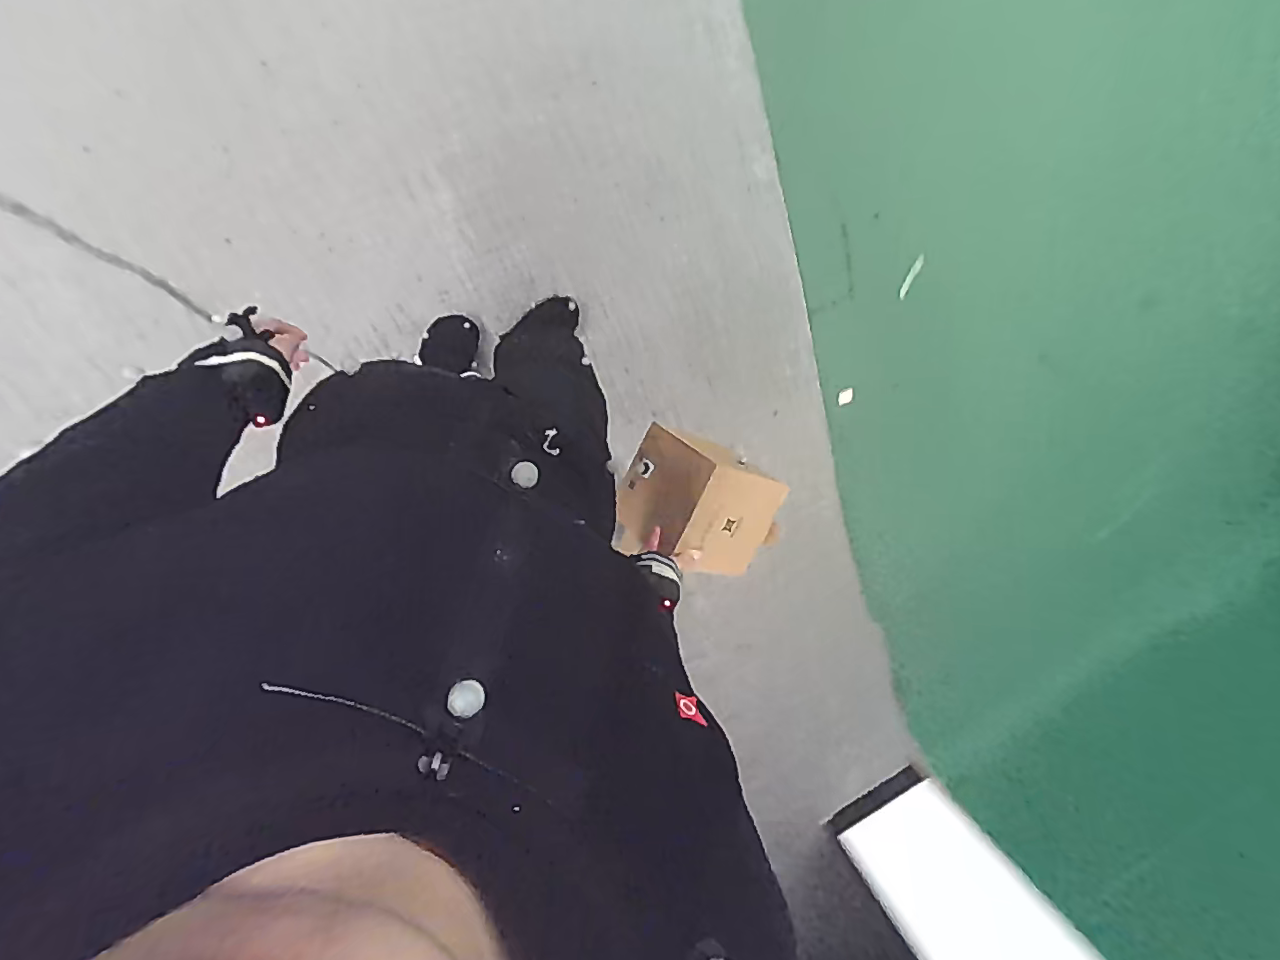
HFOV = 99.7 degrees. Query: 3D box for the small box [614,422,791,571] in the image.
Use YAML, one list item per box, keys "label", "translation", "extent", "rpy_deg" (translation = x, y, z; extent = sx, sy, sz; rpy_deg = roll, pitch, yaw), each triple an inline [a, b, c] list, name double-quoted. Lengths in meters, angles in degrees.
- label: "small box"
  translation: [0.092, 0.024, 0.837]
  extent: [0.179, 0.176, 0.168]
  rpy_deg: [12, 107, -40]
